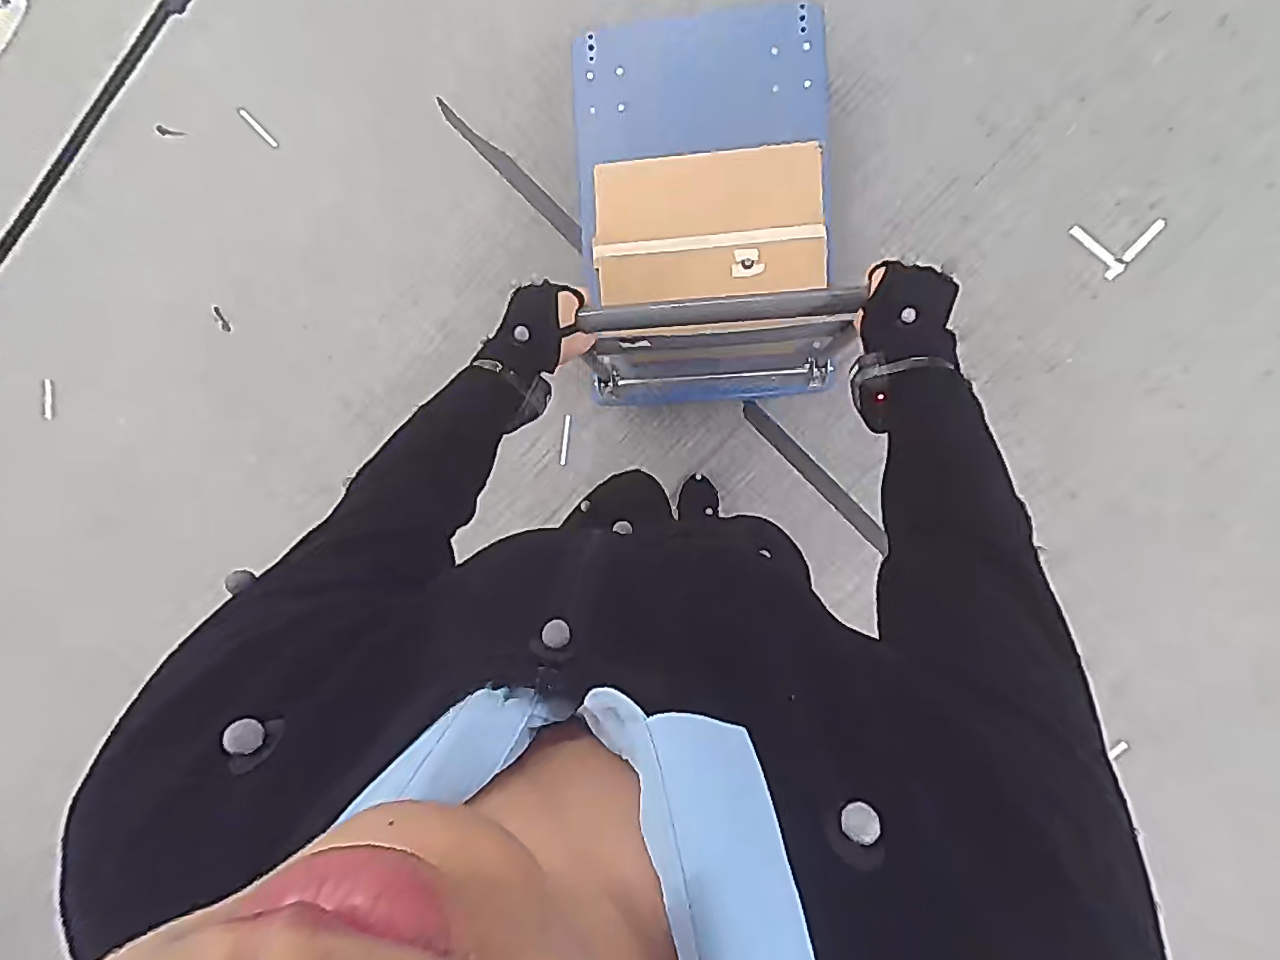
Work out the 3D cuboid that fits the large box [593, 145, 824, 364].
[{"bbox_3d":[0.133,-0.431,1.118,0.408,0.320,0.320,-3,94,5],"label":"large box"}]
